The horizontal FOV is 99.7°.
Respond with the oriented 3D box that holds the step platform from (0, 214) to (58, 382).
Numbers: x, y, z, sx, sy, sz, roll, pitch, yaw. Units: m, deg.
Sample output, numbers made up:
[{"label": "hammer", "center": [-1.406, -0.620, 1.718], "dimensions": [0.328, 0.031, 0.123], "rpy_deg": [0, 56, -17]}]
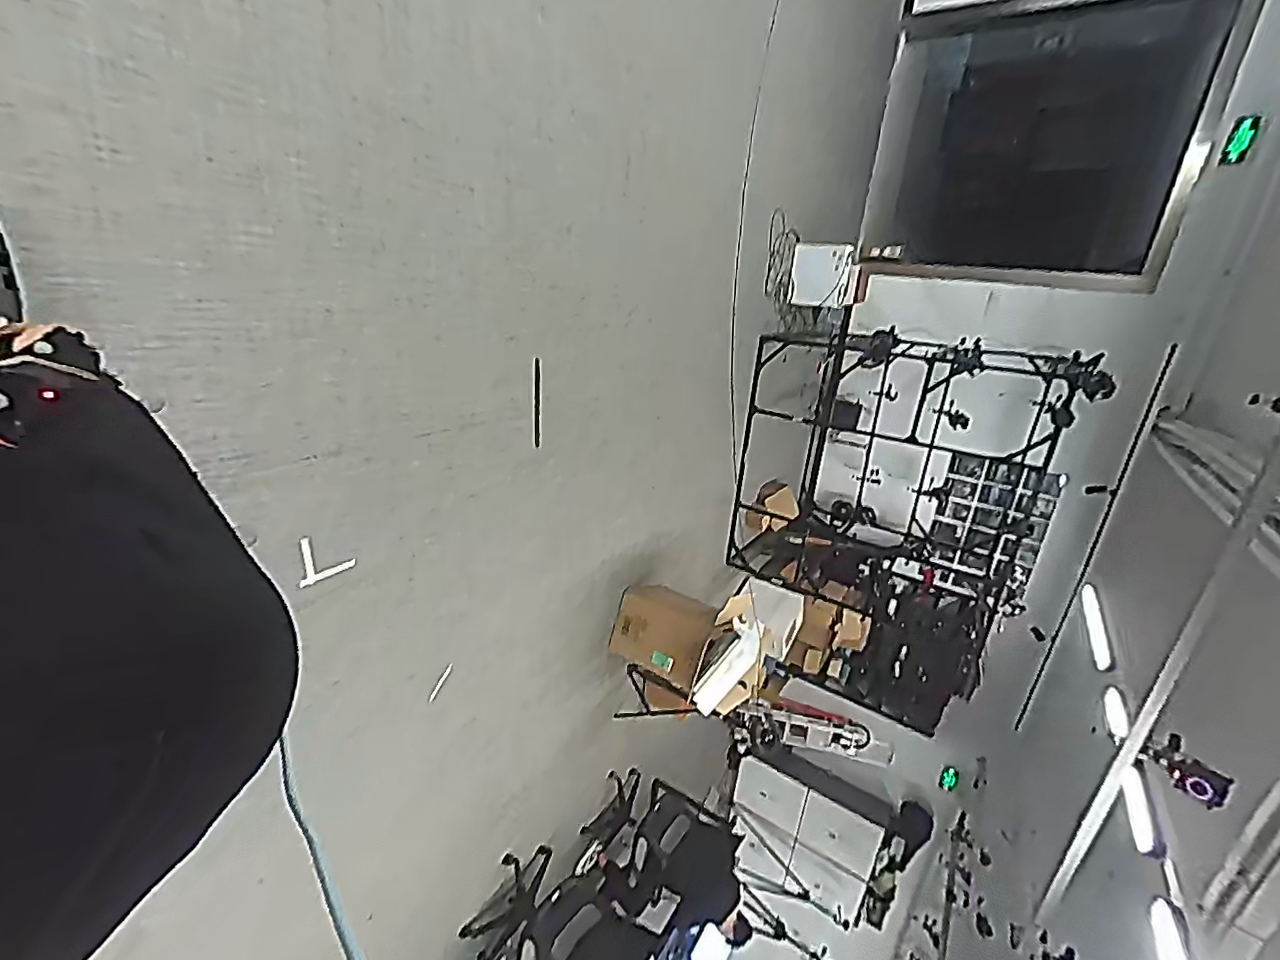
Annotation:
[{"label": "step platform", "center": [-1.289, -0.279, 0.730], "dimensions": [0.684, 0.204, 0.286], "rpy_deg": [-17, 118, -56]}]
